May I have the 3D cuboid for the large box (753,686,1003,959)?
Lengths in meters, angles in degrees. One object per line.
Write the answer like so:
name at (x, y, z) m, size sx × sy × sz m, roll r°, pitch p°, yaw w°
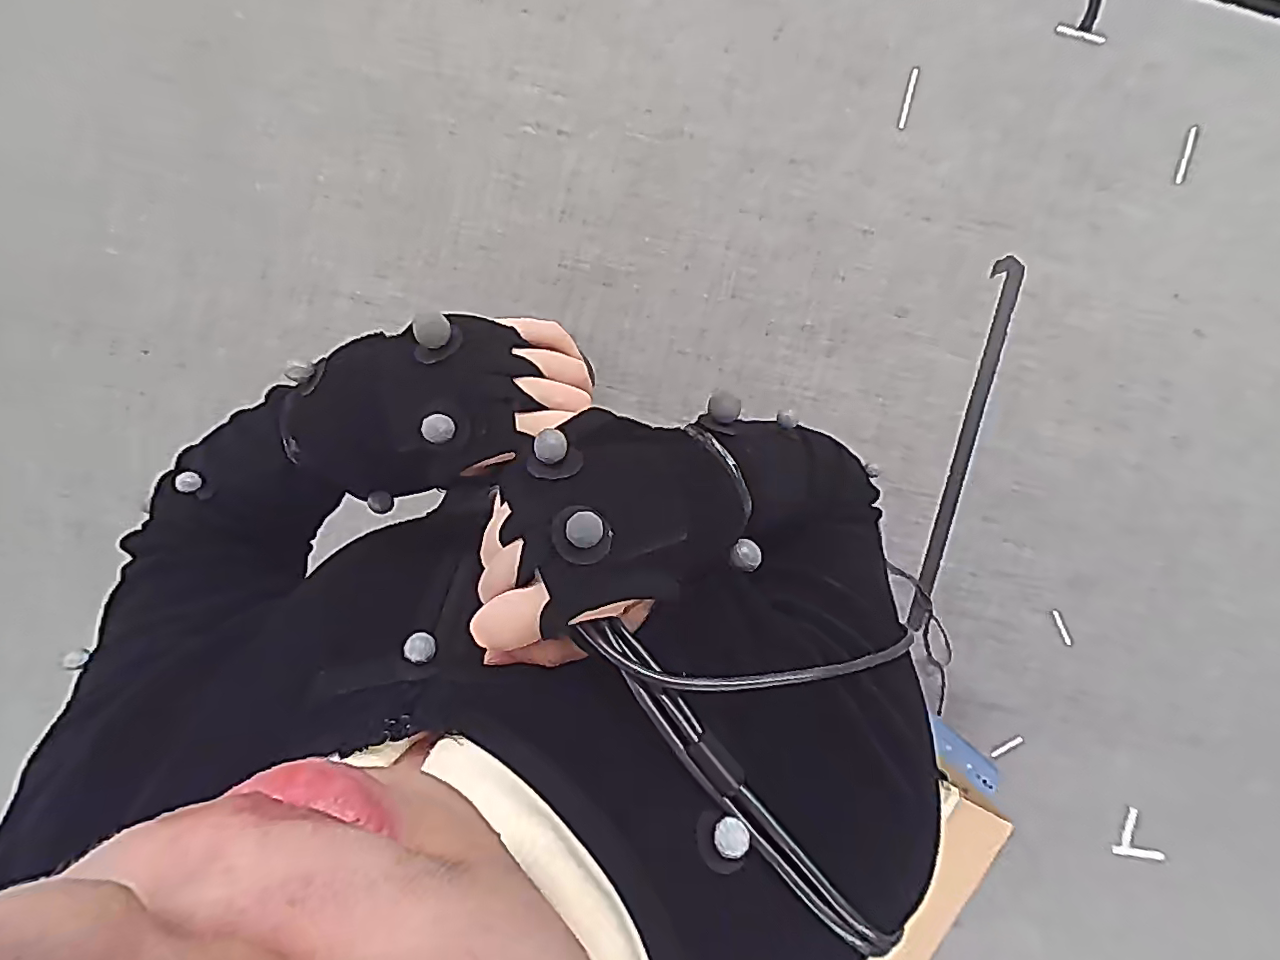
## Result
large box at (0.527, 0.783, 1.272) m, size 0.320 × 0.320 × 0.408 m, roll 30°, pitch 94°, yaw -5°
